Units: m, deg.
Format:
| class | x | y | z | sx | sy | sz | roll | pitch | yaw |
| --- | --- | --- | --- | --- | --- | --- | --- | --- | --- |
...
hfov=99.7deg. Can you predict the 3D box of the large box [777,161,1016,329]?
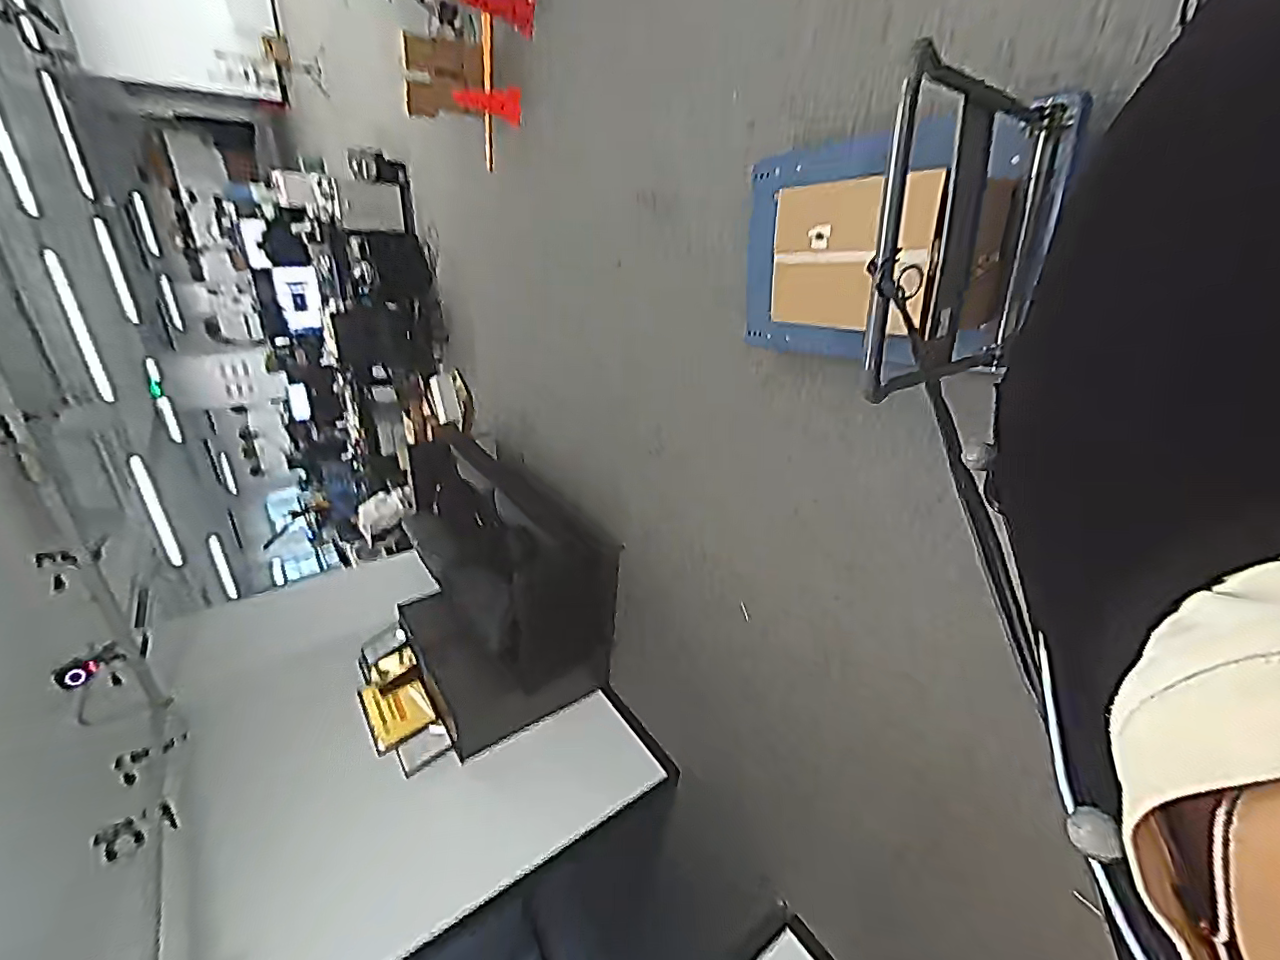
| class | x | y | z | sx | sy | sz | roll | pitch | yaw |
| --- | --- | --- | --- | --- | --- | --- | --- | --- | --- |
| large box | 0.595 | -0.551 | 1.300 | 0.408 | 0.320 | 0.320 | 27 | 124 | 48 |
